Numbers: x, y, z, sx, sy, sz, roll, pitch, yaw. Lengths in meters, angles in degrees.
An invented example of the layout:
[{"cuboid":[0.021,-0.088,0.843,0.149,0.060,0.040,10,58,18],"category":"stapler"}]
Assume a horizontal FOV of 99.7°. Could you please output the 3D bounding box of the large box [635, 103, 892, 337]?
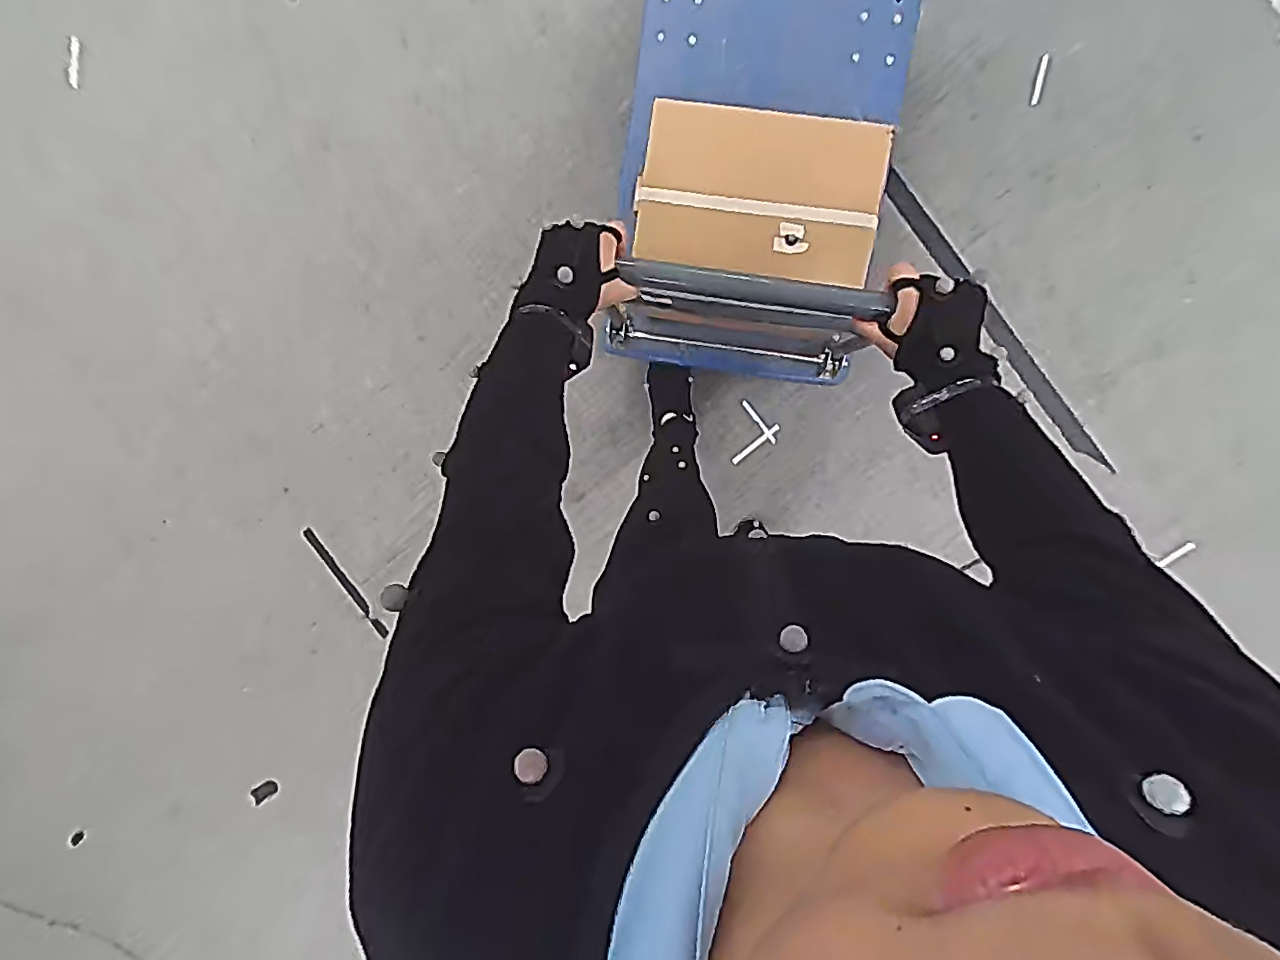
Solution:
[{"cuboid":[0.214,-0.485,1.077,0.408,0.320,0.320,9,98,3],"category":"large box"}]
